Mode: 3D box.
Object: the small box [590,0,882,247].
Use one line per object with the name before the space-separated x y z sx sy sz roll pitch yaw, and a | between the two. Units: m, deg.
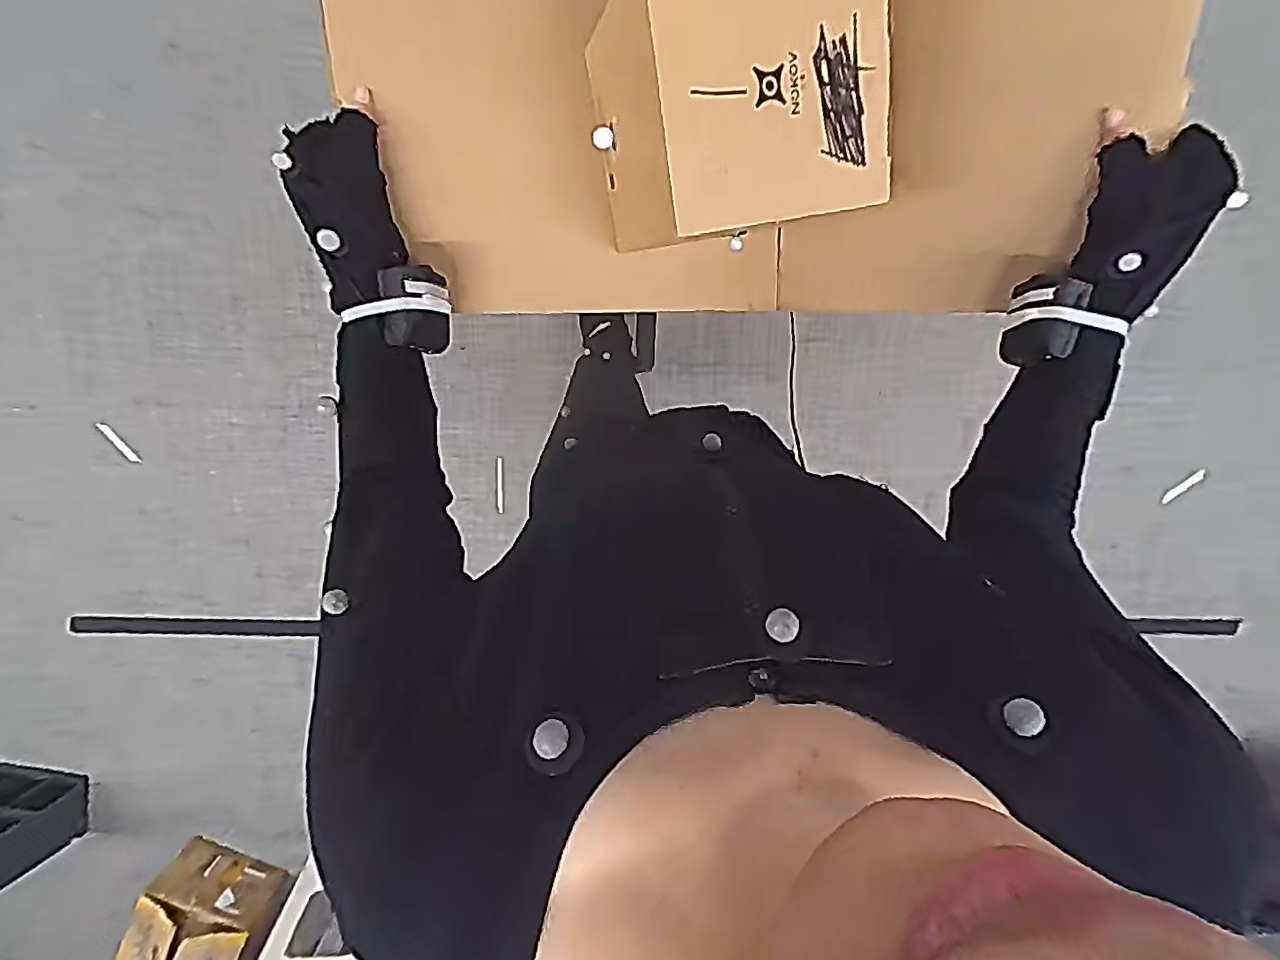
small box | 0.070 -0.296 0.445 0.179 0.176 0.168 -15 112 -12
